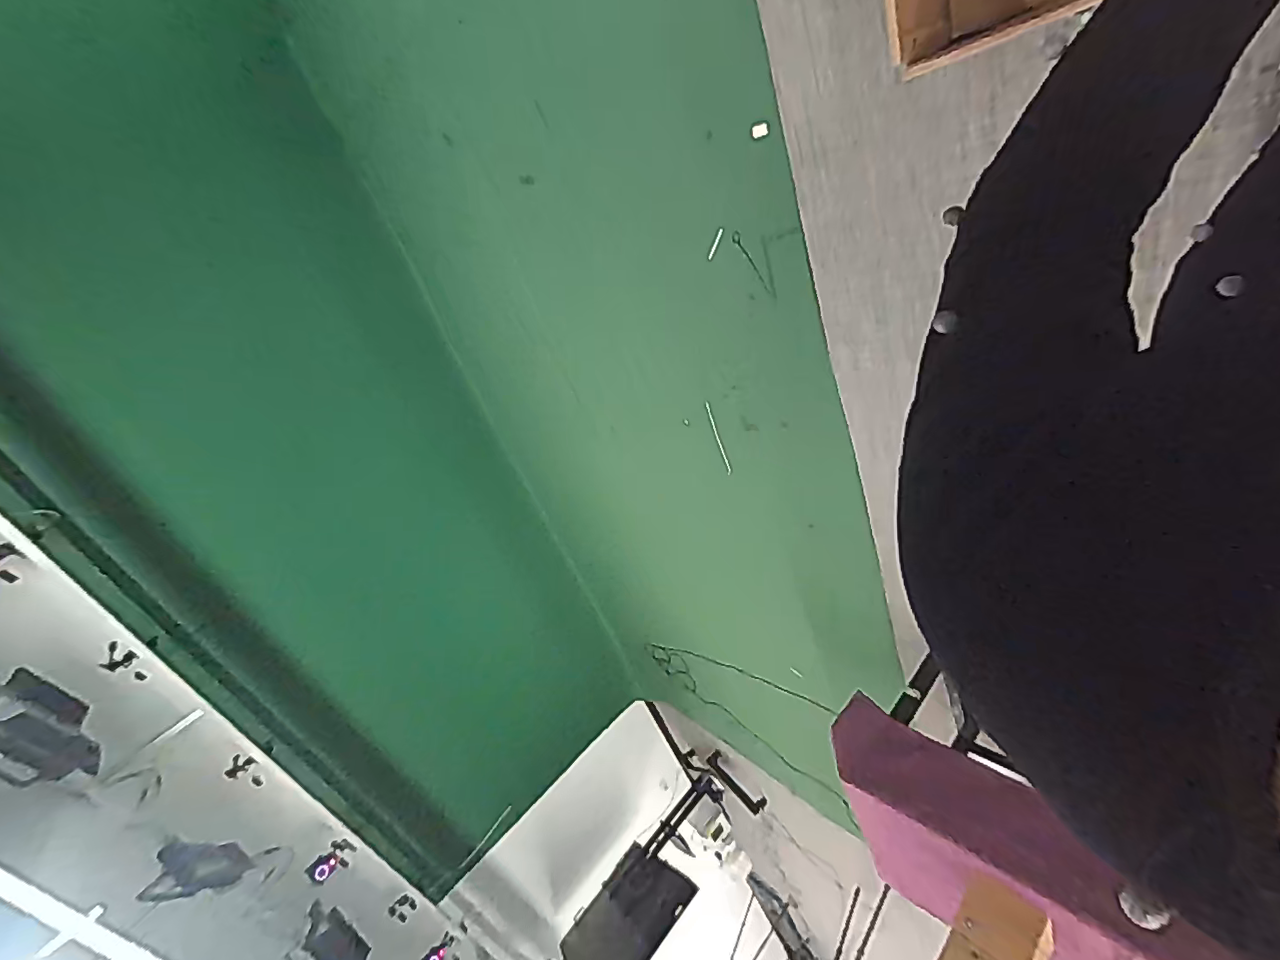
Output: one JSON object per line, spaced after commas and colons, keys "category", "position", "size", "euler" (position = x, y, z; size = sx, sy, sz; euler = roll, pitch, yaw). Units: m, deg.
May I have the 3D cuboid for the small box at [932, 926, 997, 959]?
{"category": "small box", "position": [0.815, 1.259, 1.328], "size": [0.168, 0.176, 0.179], "euler": [16, 137, 50]}

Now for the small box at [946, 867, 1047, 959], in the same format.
{"category": "small box", "position": [0.929, 1.163, 1.399], "size": [0.179, 0.176, 0.168], "euler": [14, 135, 51]}
